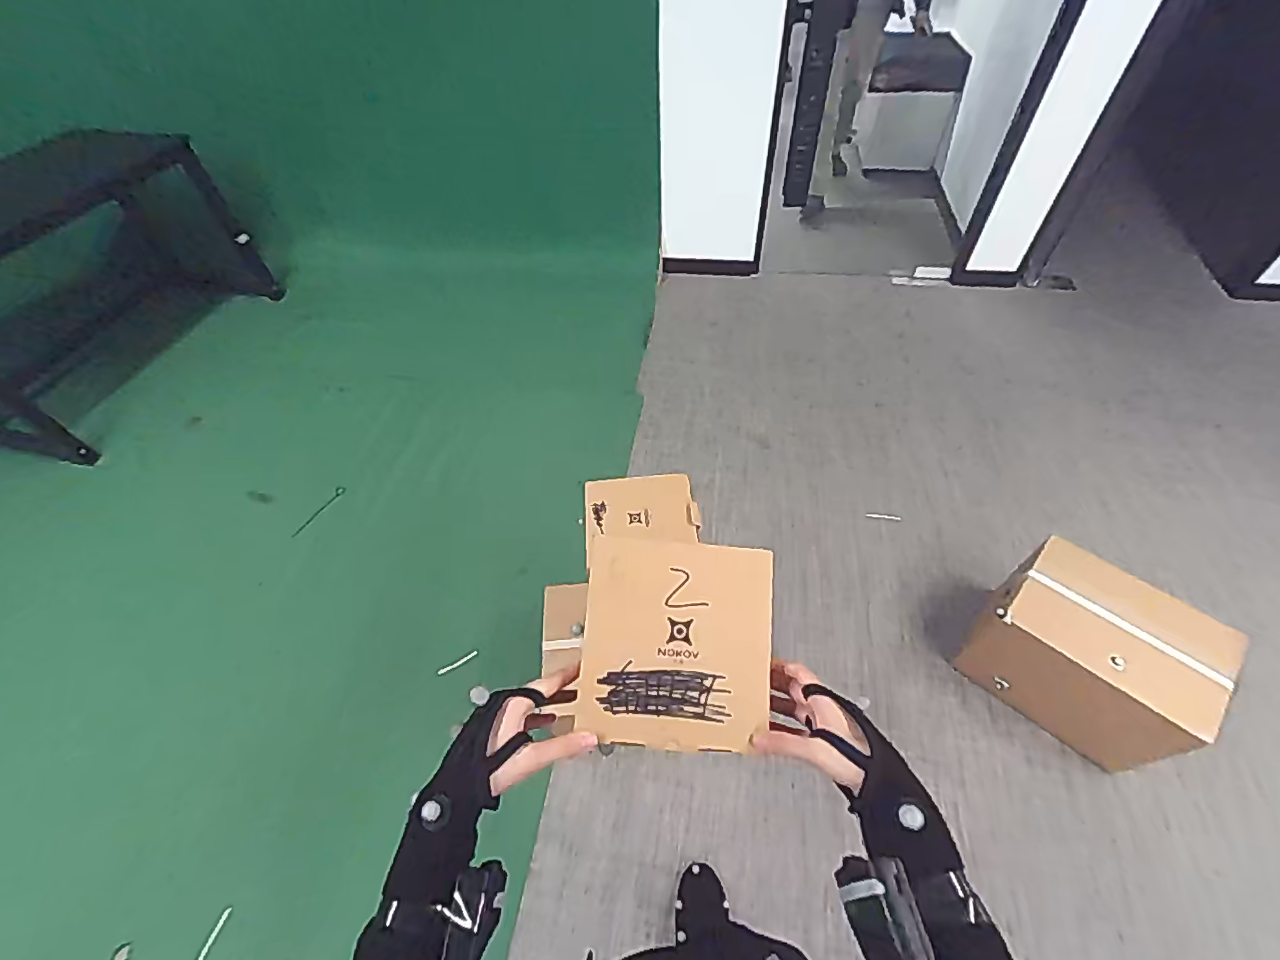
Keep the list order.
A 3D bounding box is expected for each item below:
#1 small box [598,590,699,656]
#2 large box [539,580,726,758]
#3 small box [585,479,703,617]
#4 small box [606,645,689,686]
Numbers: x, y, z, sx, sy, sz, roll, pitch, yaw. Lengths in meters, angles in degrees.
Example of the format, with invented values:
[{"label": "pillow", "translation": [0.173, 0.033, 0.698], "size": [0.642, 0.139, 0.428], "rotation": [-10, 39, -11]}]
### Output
[{"label": "small box", "translation": [0.012, 0.222, 1.030], "size": [0.179, 0.176, 0.168], "rotation": [-5, 51, -1]}, {"label": "large box", "translation": [-0.017, 0.477, 1.350], "size": [0.408, 0.320, 0.320], "rotation": [-6, 49, 0]}, {"label": "small box", "translation": [0.002, 0.116, 0.905], "size": [0.179, 0.176, 0.168], "rotation": [-4, 50, -2]}, {"label": "small box", "translation": [0.015, 0.329, 1.154], "size": [0.168, 0.176, 0.179], "rotation": [-4, 50, -1]}]
